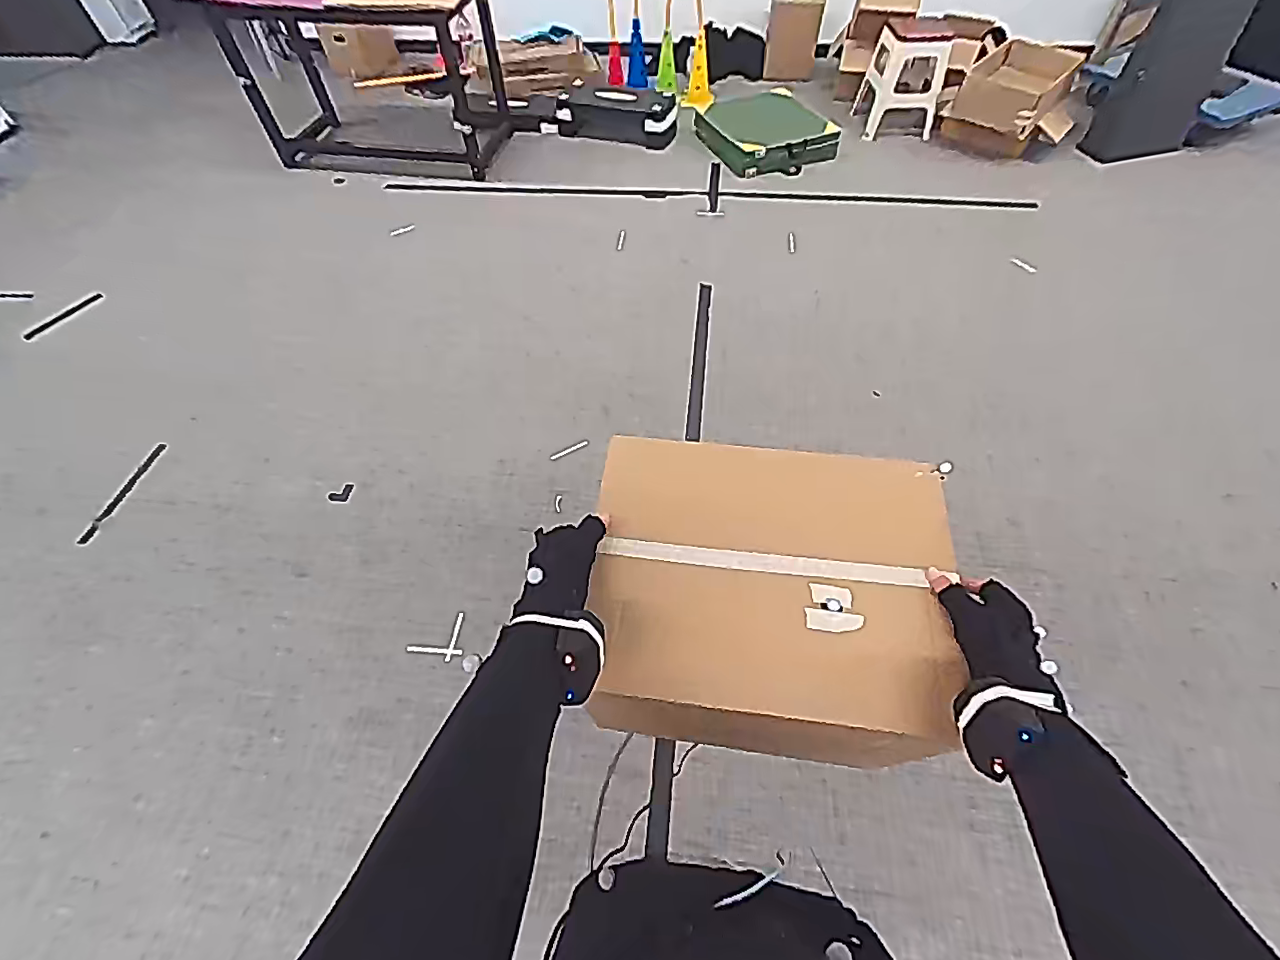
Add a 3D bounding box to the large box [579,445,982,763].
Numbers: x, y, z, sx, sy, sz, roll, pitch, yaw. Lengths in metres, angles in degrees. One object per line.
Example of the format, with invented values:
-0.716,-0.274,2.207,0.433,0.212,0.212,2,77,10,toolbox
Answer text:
0.156,0.177,0.737,0.408,0.320,0.320,6,59,6,large box
